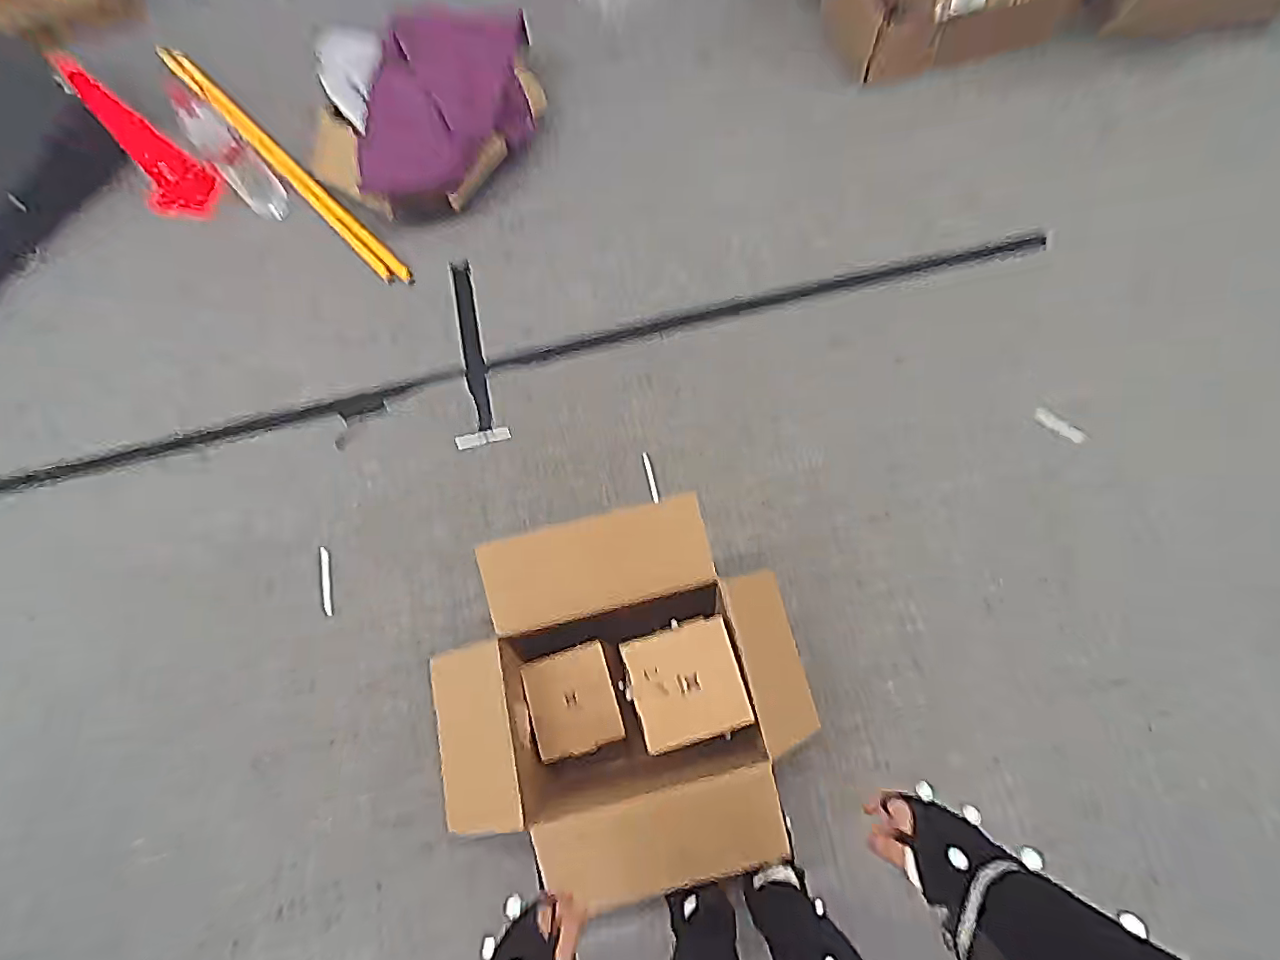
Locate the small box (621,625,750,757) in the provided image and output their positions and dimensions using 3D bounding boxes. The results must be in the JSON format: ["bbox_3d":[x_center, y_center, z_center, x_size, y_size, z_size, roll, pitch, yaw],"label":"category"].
[{"bbox_3d":[0.071,0.358,0.944,0.179,0.176,0.168,-15,73,-4],"label":"small box"}]
